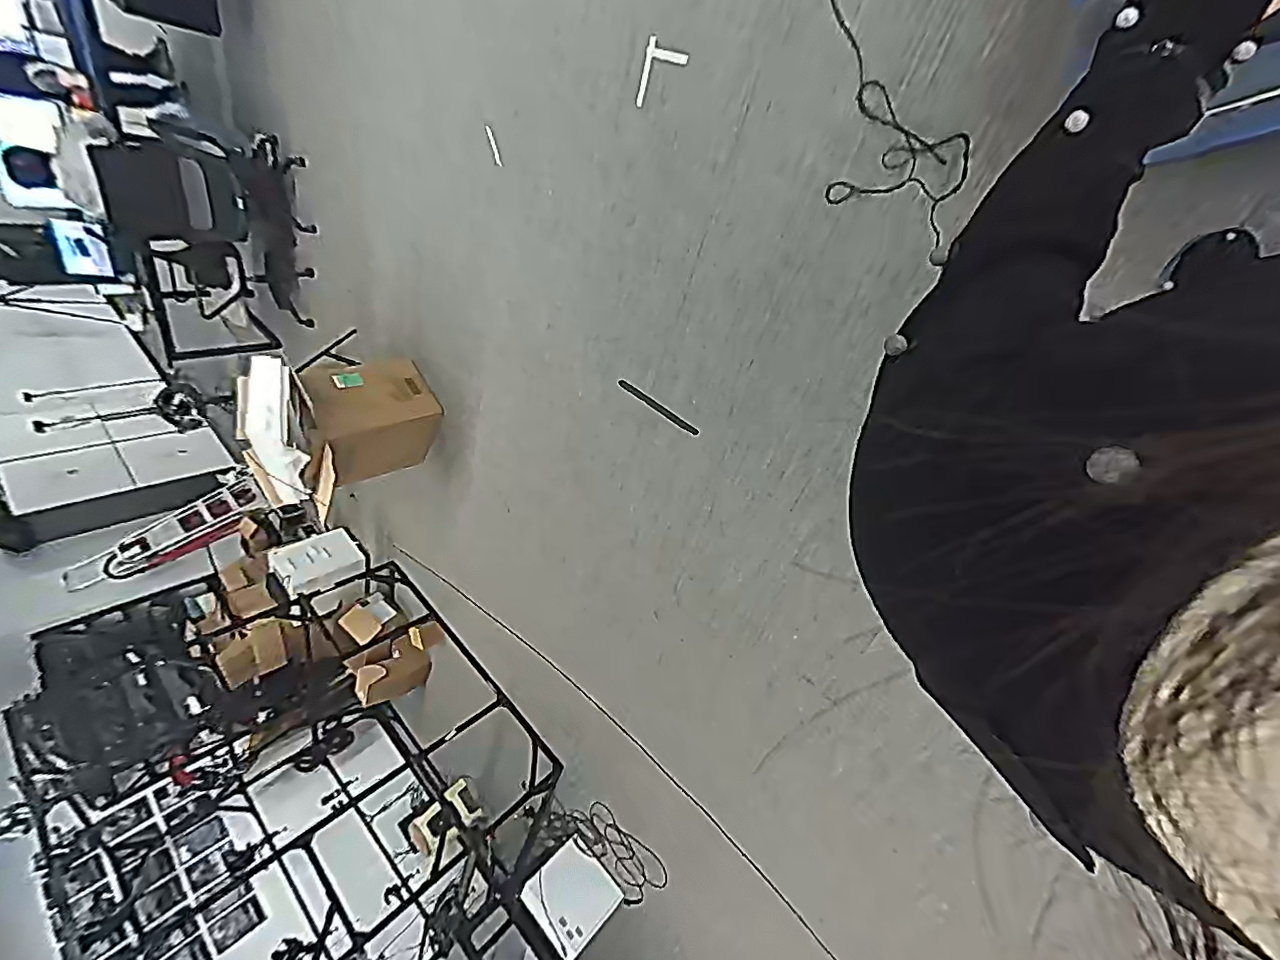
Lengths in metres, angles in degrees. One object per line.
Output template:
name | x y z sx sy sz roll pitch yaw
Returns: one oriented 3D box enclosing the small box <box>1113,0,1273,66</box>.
small box | 0.770 -0.718 0.753 0.168 0.176 0.179 -2 106 42
